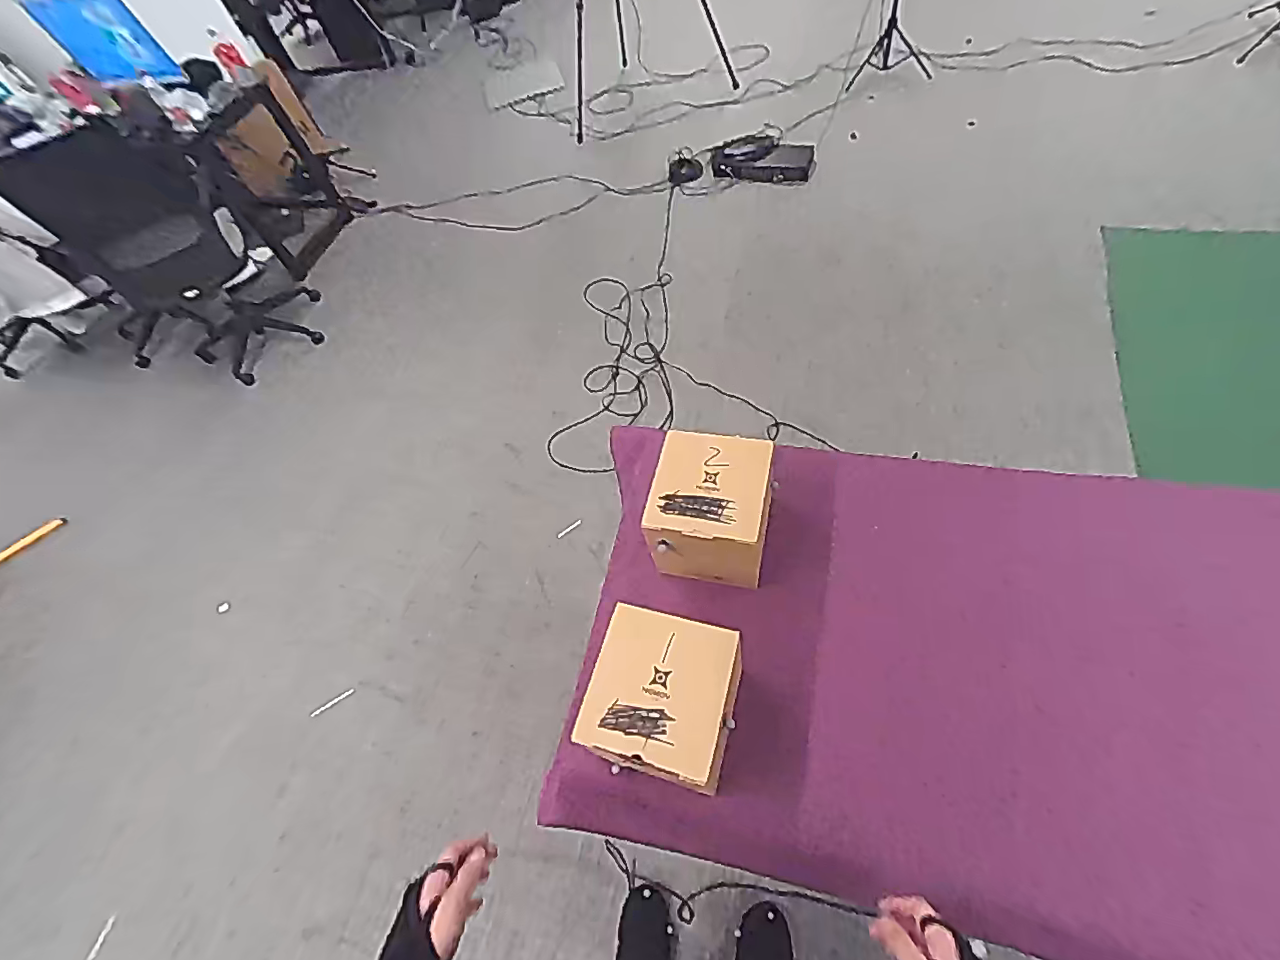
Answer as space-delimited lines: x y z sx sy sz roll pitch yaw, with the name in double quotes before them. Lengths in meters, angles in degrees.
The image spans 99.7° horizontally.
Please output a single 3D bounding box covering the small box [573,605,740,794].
"small box" 0.035 0.292 0.711 0.168 0.176 0.179 10 59 17
